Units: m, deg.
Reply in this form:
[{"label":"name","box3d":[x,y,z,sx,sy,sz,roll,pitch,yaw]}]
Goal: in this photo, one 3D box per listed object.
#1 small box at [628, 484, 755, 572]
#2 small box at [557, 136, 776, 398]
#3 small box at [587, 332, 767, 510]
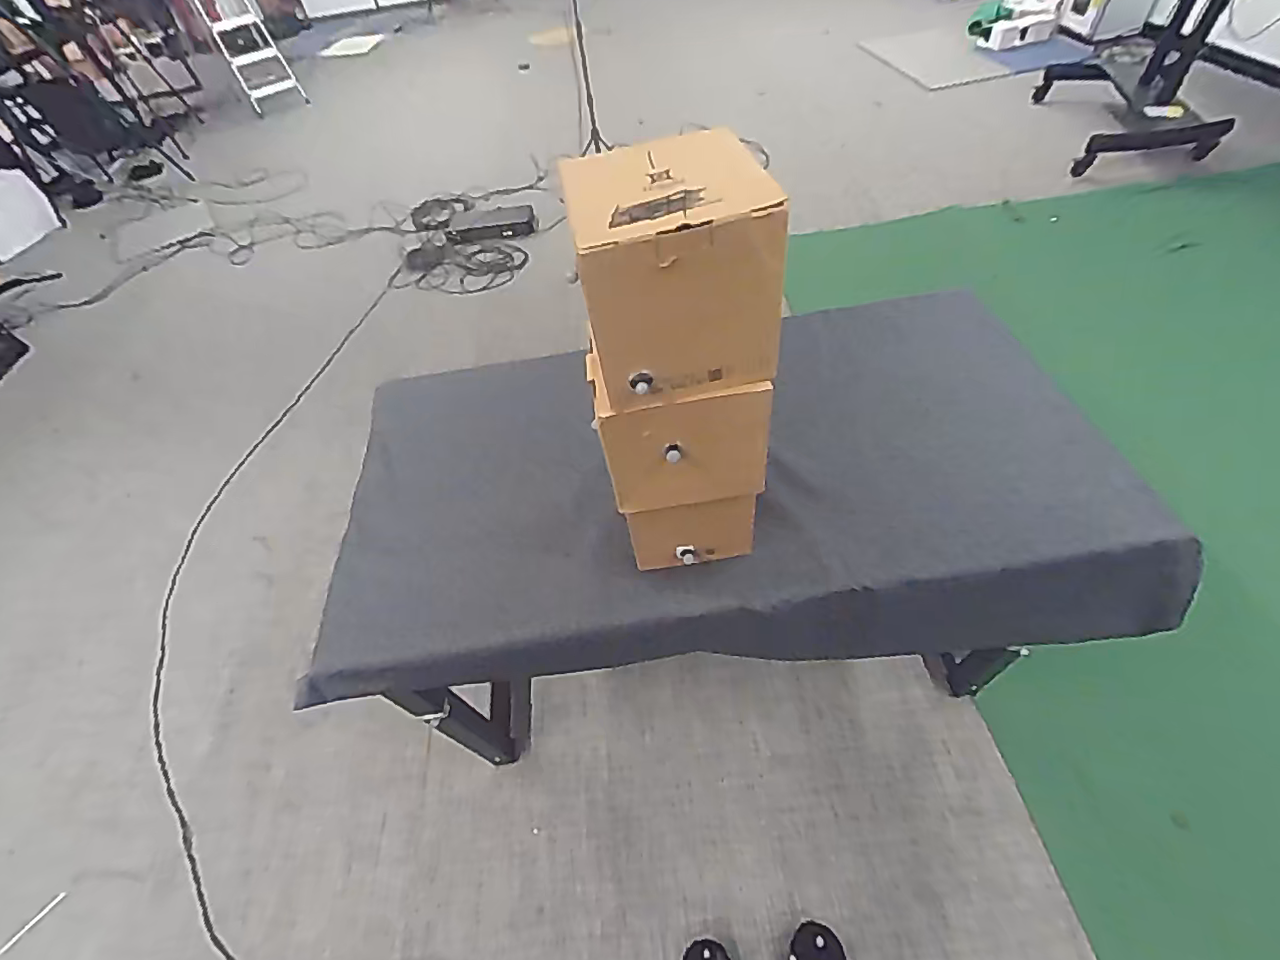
[{"label":"small box","box3d":[0.061,0.007,0.779,0.168,0.176,0.179,-11,51,1]},{"label":"small box","box3d":[0.024,-0.197,0.524,0.168,0.176,0.179,-12,49,-1]},{"label":"small box","box3d":[0.043,-0.083,0.646,0.179,0.176,0.168,-11,48,0]}]
